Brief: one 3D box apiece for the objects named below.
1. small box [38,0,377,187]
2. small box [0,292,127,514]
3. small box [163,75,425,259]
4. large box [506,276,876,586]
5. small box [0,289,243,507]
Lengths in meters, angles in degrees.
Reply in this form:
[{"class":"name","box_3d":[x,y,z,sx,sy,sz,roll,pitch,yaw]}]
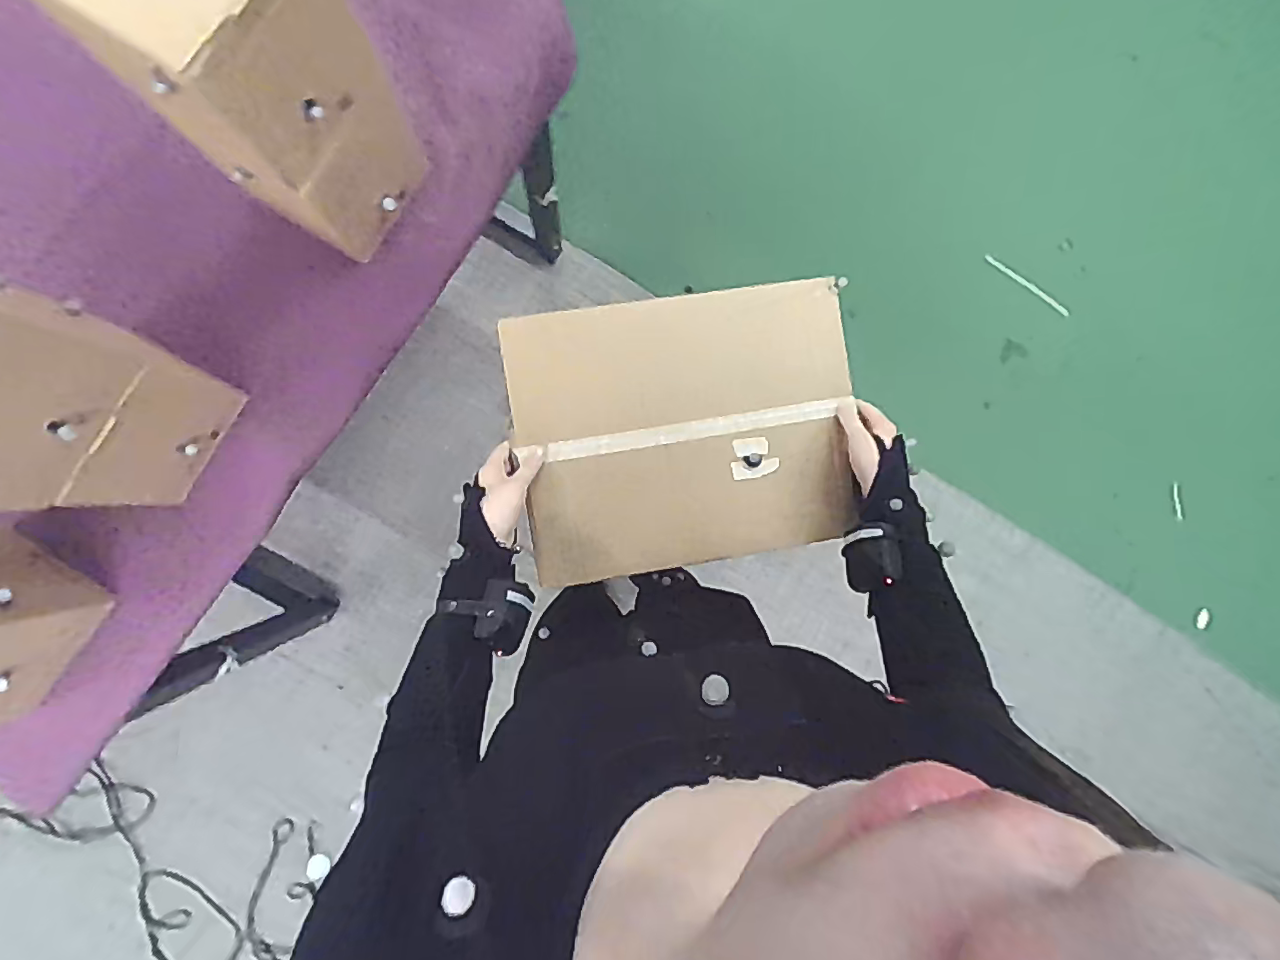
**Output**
[{"class":"small box","box_3d":[-0.384,-0.412,0.491,0.179,0.176,0.168,30,86,-4]},{"class":"small box","box_3d":[-0.604,-0.083,0.453,0.168,0.176,0.179,29,85,-3]},{"class":"small box","box_3d":[-0.397,-0.403,0.652,0.179,0.176,0.168,31,86,-4]},{"class":"large box","box_3d":[0.049,-0.061,0.773,0.408,0.320,0.320,-9,92,-6]},{"class":"small box","box_3d":[-0.620,-0.078,0.617,0.179,0.176,0.168,29,86,-4]}]
